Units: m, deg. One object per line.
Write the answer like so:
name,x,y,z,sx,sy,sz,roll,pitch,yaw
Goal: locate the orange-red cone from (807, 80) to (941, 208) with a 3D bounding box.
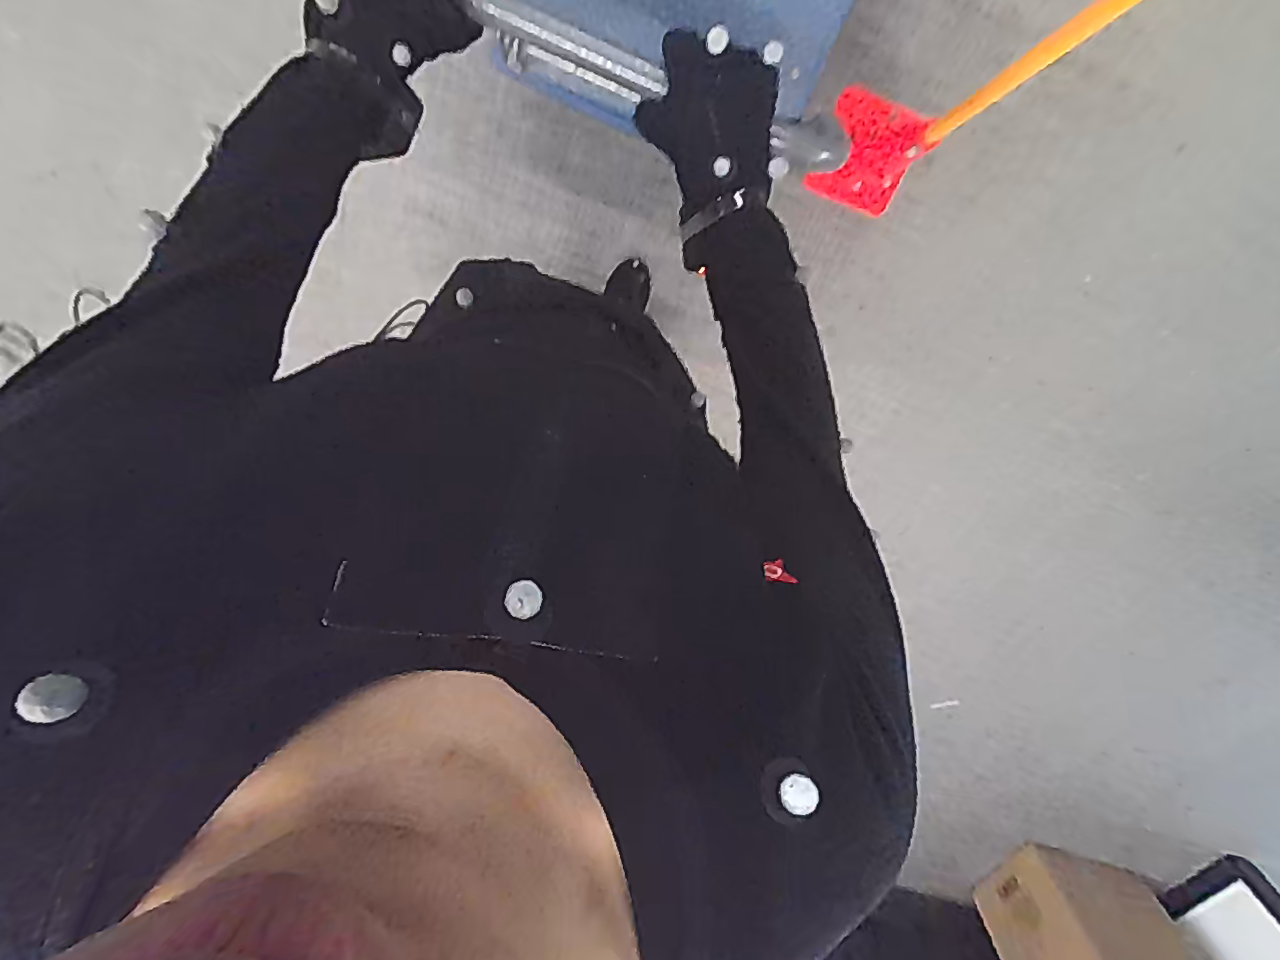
orange-red cone,0.475,-0.650,1.024,0.199,0.360,0.198,21,116,-5
